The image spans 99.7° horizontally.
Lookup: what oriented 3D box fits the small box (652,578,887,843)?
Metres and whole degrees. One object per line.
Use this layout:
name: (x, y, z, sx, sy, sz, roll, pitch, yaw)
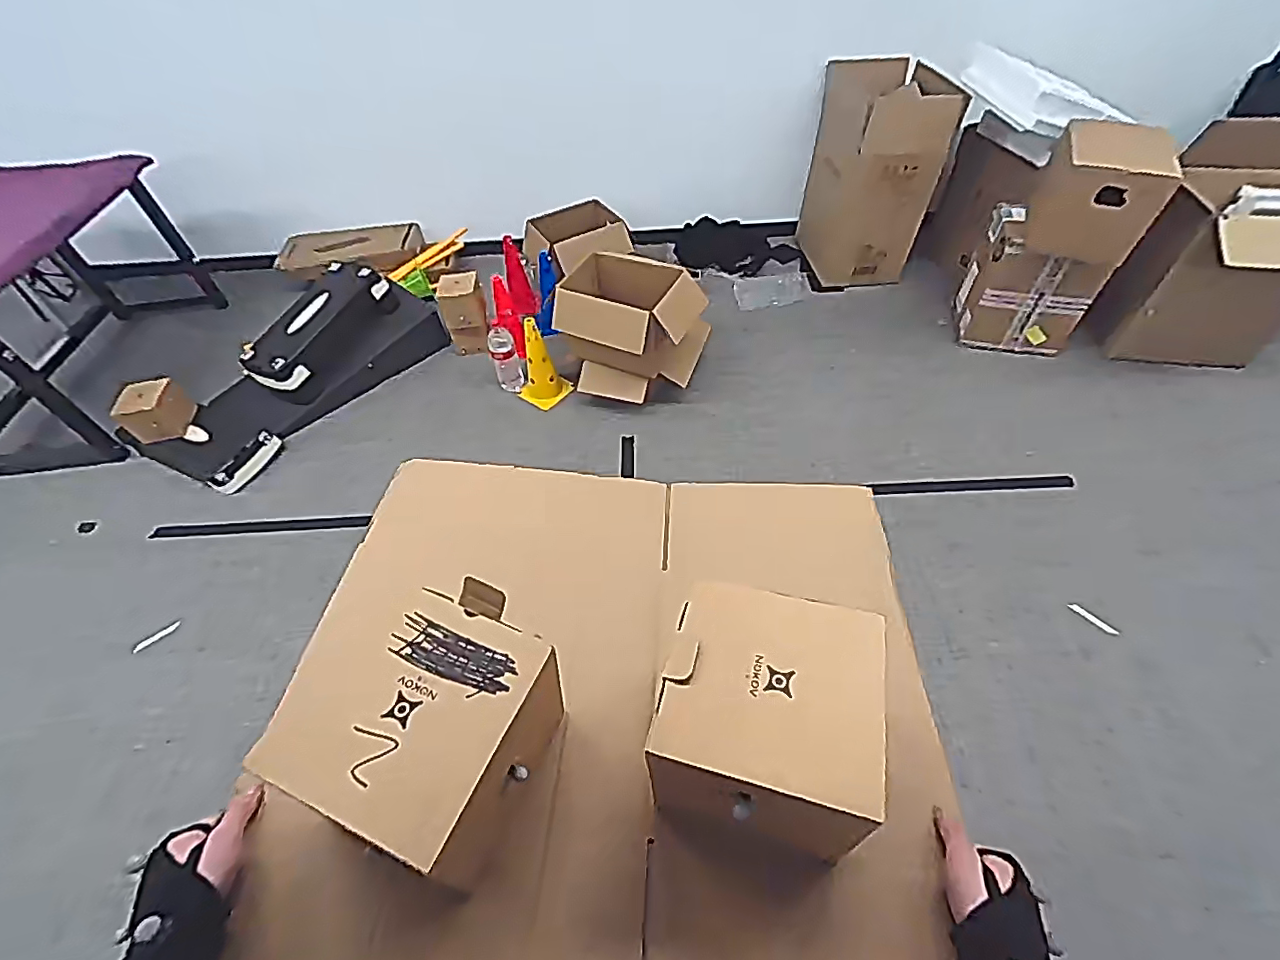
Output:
small box: (0.122, 0.221, 0.515, 0.179, 0.176, 0.168, 9, 50, 15)
